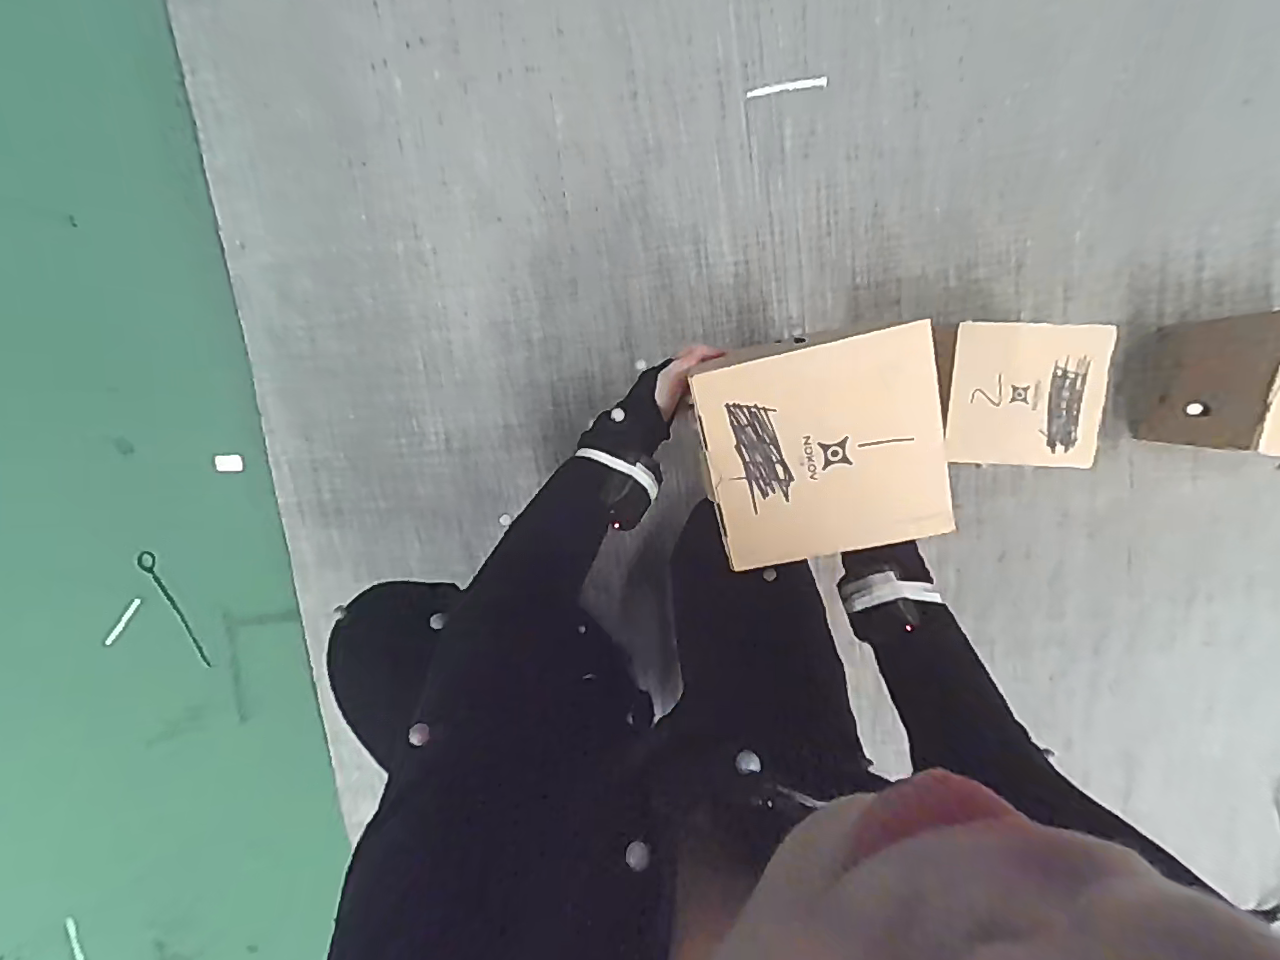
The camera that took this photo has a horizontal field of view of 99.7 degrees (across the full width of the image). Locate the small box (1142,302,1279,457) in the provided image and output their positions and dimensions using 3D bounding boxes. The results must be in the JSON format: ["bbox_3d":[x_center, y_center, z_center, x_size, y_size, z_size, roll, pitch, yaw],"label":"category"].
[{"bbox_3d":[0.802,-0.117,0.678,0.179,0.176,0.168,10,101,2],"label":"small box"}]
